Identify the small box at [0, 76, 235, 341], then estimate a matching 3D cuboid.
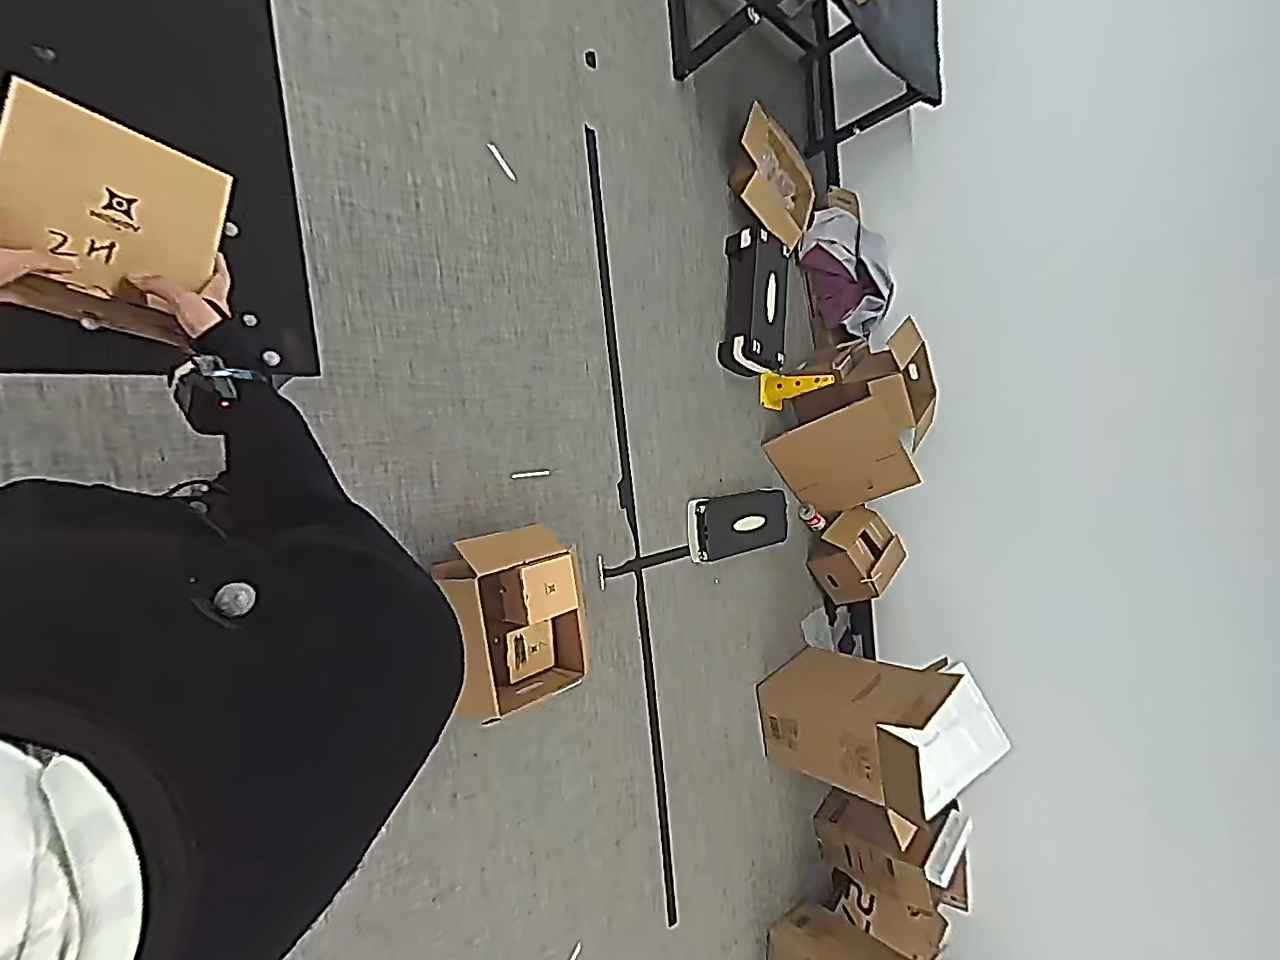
[{"bbox_3d":[-0.573,-0.268,0.586,0.168,0.176,0.179,13,83,-47],"label":"small box"}]
